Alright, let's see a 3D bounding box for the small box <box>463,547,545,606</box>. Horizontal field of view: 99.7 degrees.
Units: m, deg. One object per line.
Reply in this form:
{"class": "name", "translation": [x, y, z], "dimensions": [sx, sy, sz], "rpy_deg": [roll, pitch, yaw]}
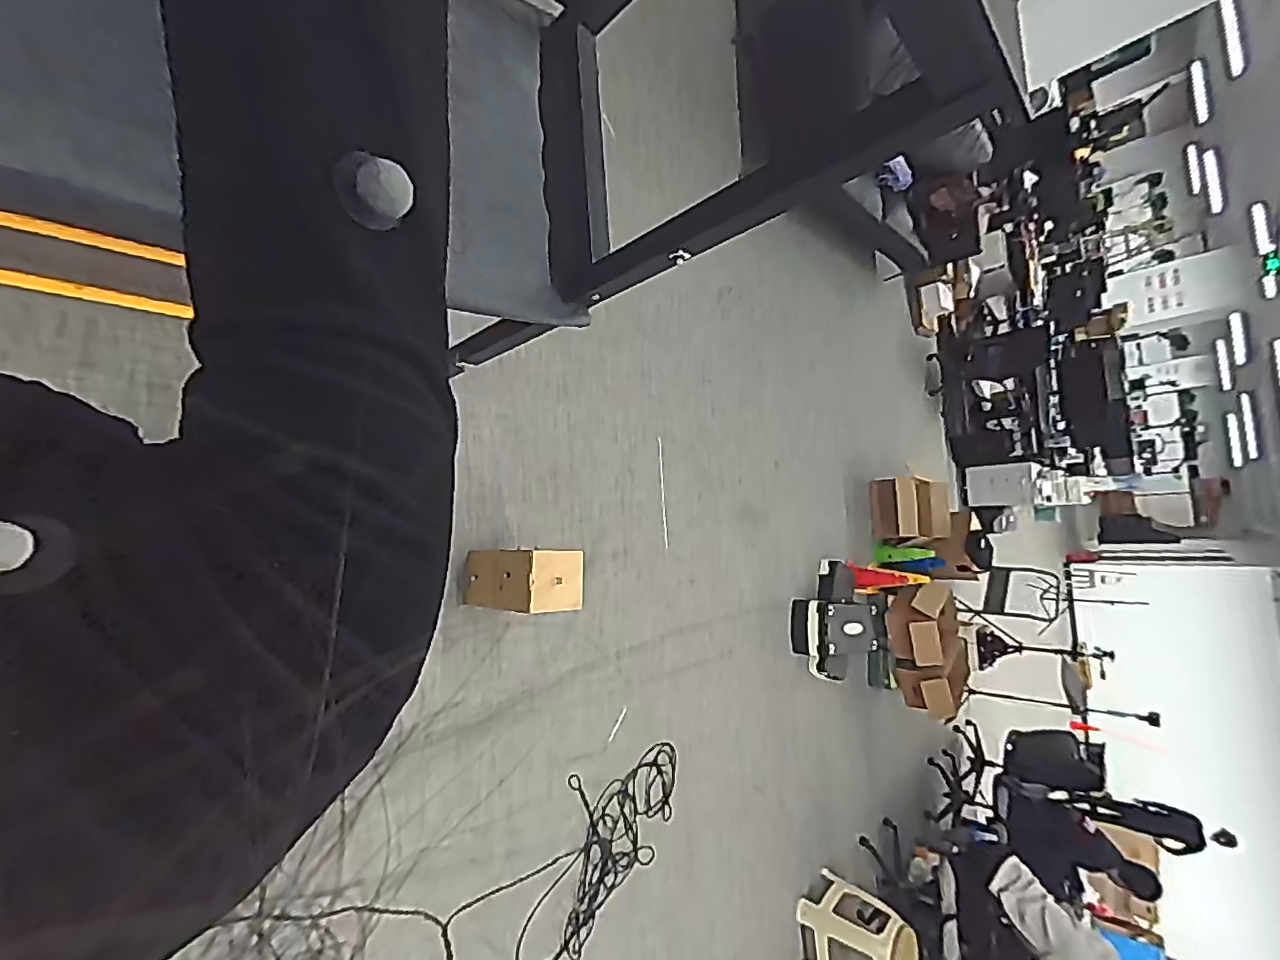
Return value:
{"class": "small box", "translation": [-0.409, 0.290, 1.633], "dimensions": [0.179, 0.176, 0.168], "rpy_deg": [10, 77, -44]}
